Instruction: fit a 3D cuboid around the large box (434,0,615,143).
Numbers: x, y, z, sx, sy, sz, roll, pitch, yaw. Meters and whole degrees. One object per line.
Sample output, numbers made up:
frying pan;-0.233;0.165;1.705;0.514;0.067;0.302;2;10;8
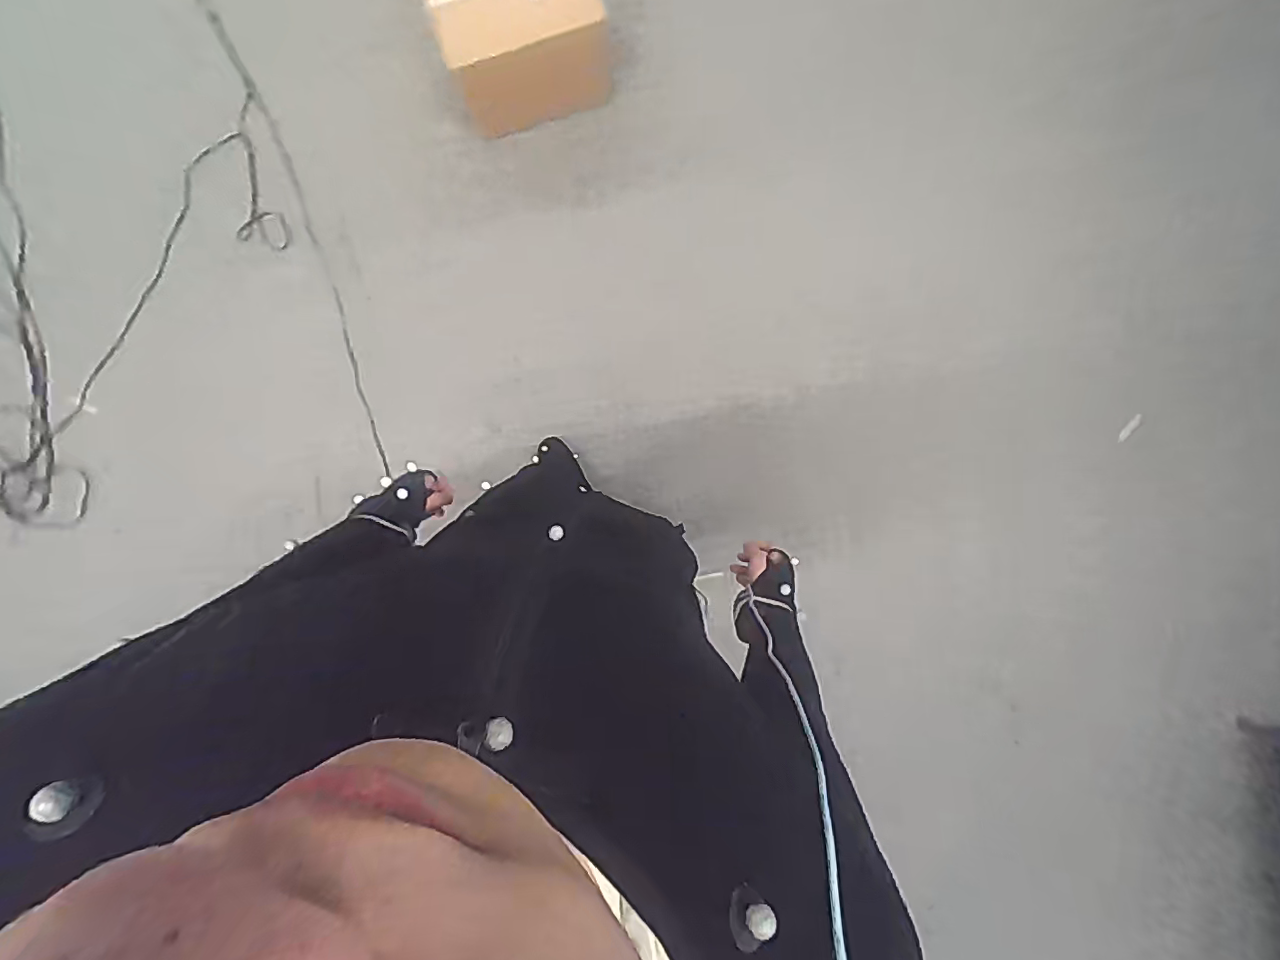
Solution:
large box;-0.303;-1.197;1.454;0.408;0.320;0.320;-18;93;-1
